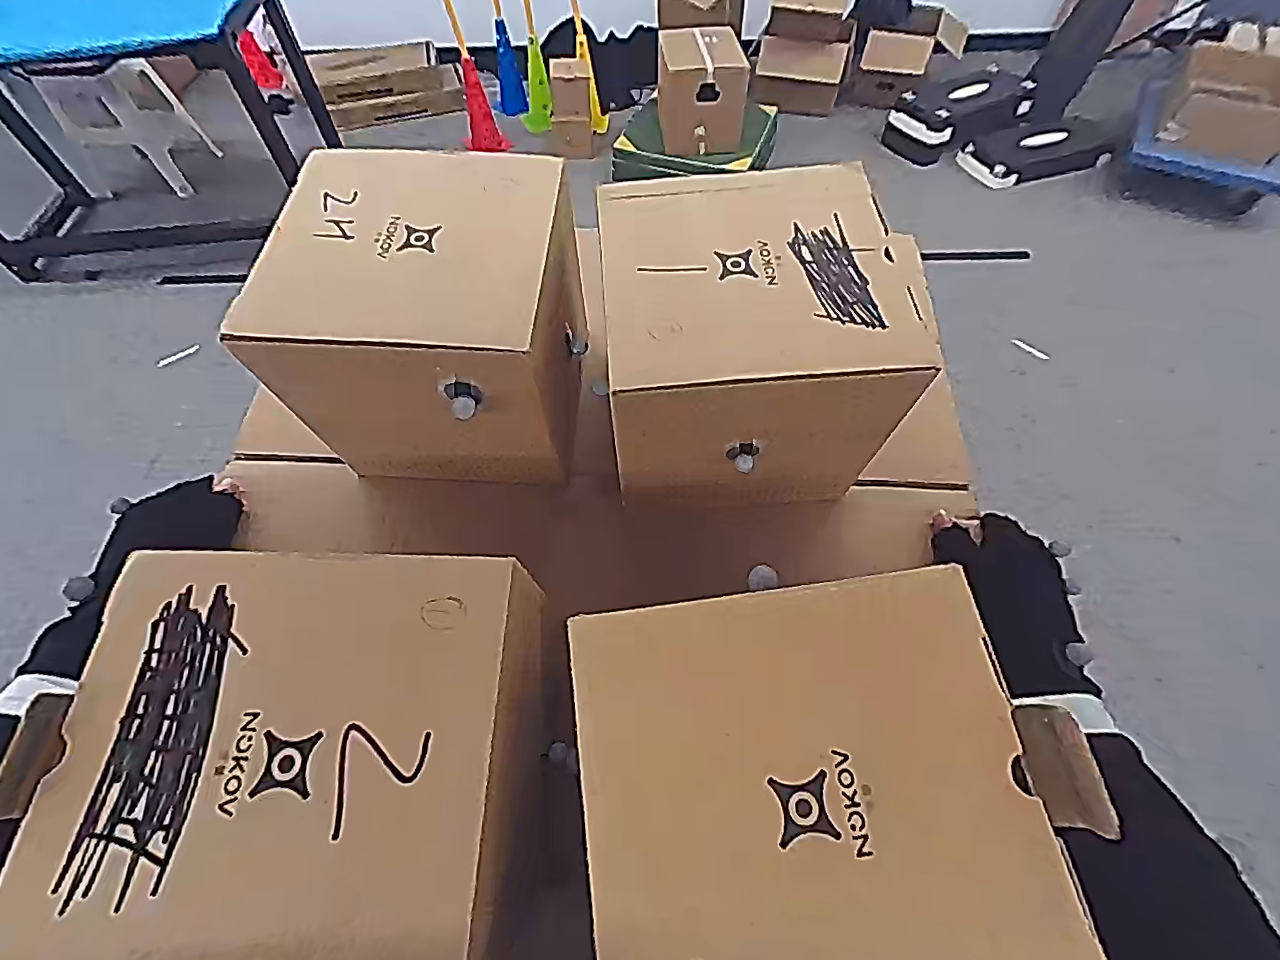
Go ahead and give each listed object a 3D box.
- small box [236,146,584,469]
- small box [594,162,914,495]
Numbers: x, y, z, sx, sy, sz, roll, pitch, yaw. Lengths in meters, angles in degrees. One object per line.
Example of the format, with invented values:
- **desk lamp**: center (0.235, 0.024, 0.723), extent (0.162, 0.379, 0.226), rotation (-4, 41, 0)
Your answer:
- **small box**: center (-0.142, -0.119, 0.415), extent (0.179, 0.176, 0.168), rotation (4, 63, 2)
- **small box**: center (0.062, -0.099, 0.401), extent (0.179, 0.176, 0.168), rotation (-5, 64, 0)
